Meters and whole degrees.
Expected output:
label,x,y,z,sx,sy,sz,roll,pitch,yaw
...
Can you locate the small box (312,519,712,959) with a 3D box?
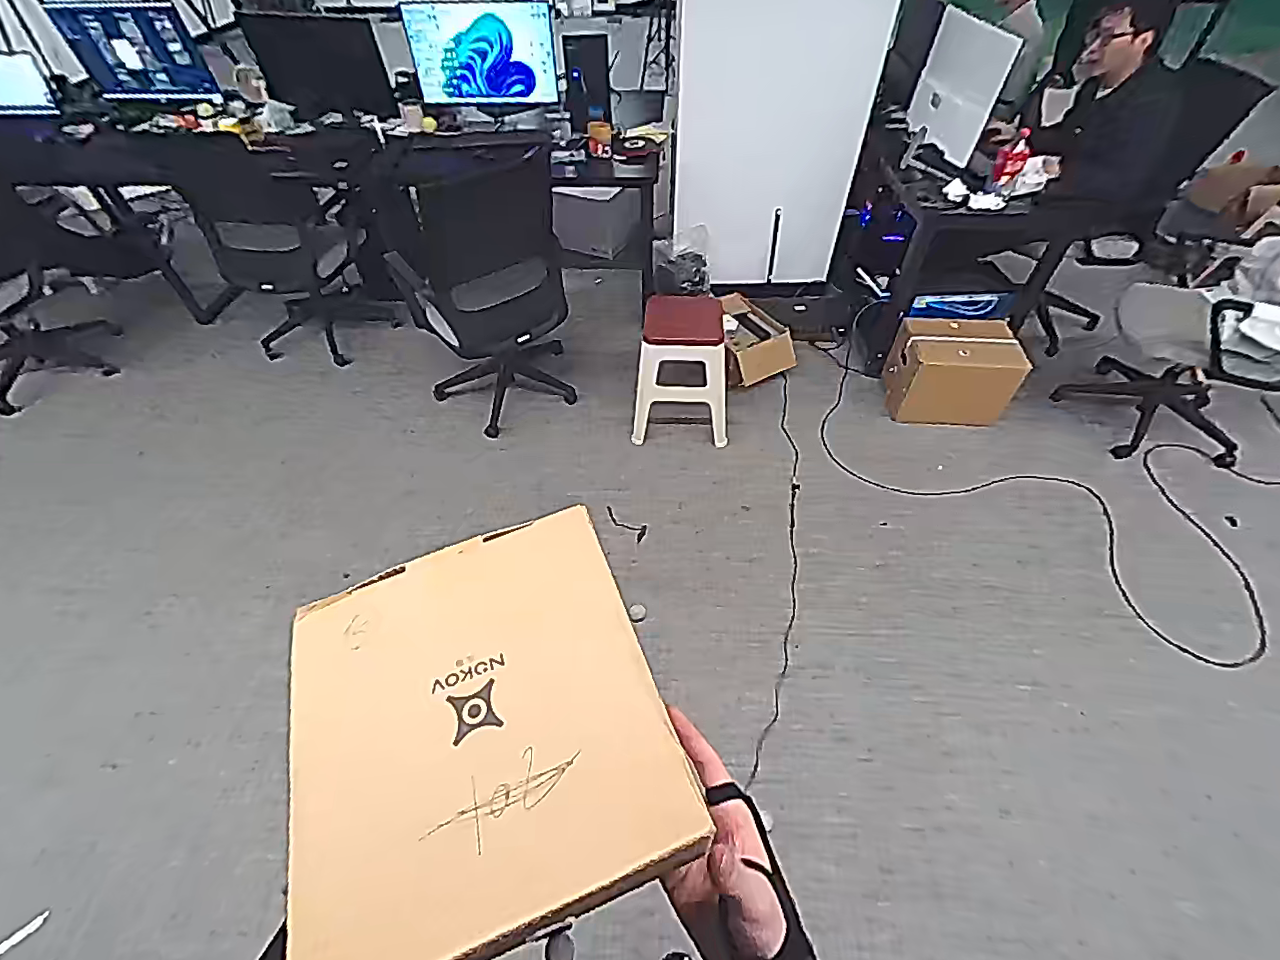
label,x,y,z,sx,sy,sz,roll,pitch,yaw
small box,-0.069,0.159,0.328,0.168,0.176,0.179,-20,54,-9
